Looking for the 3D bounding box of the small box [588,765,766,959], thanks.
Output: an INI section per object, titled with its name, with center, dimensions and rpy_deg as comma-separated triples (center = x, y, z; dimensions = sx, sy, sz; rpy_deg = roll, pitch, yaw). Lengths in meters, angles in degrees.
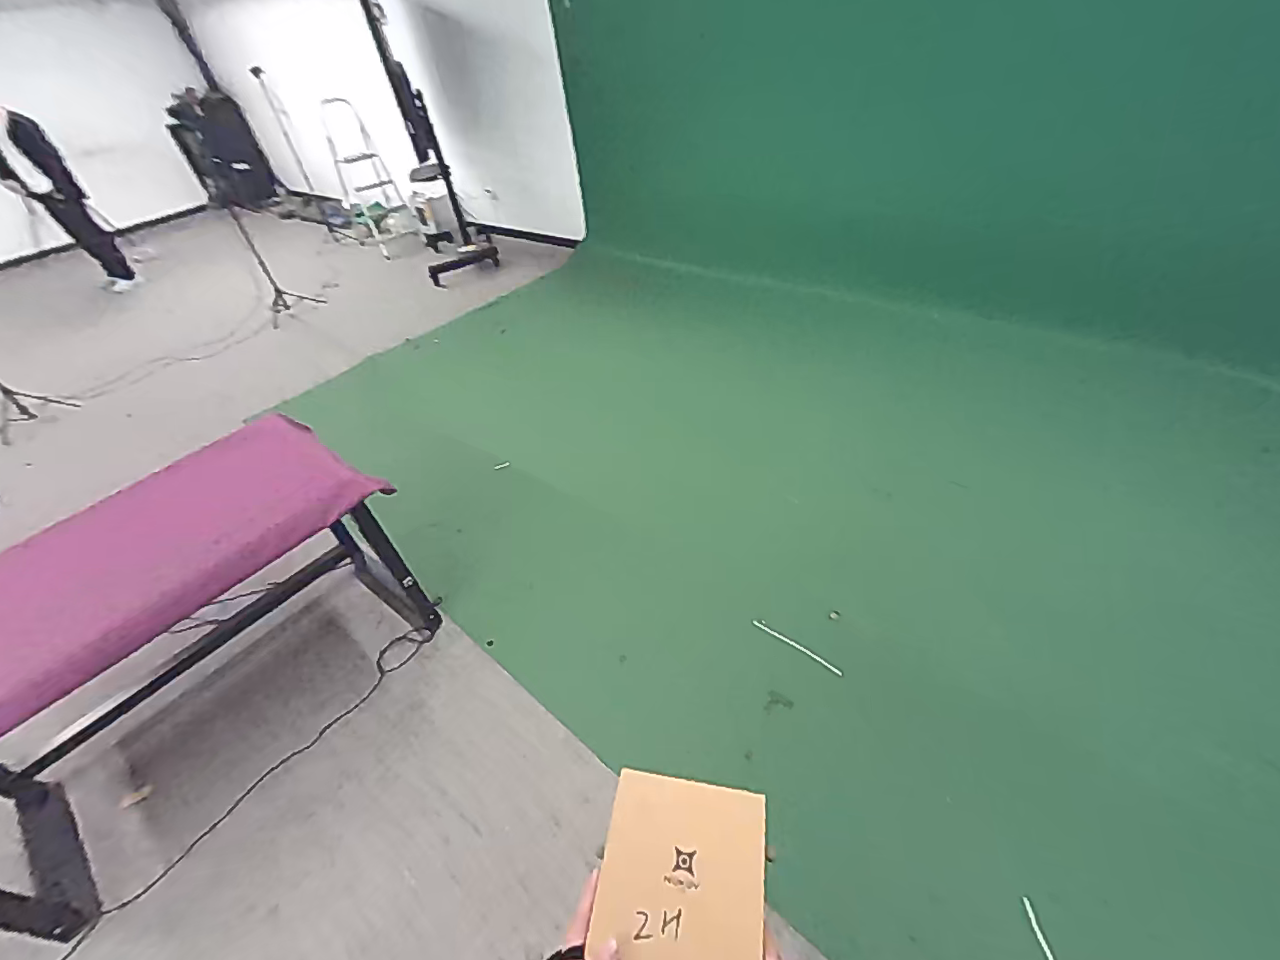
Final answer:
[small box]
center = 0.047, 0.455, 0.605
dimensions = 0.168, 0.176, 0.179
rpy_deg = 5, 42, 9
